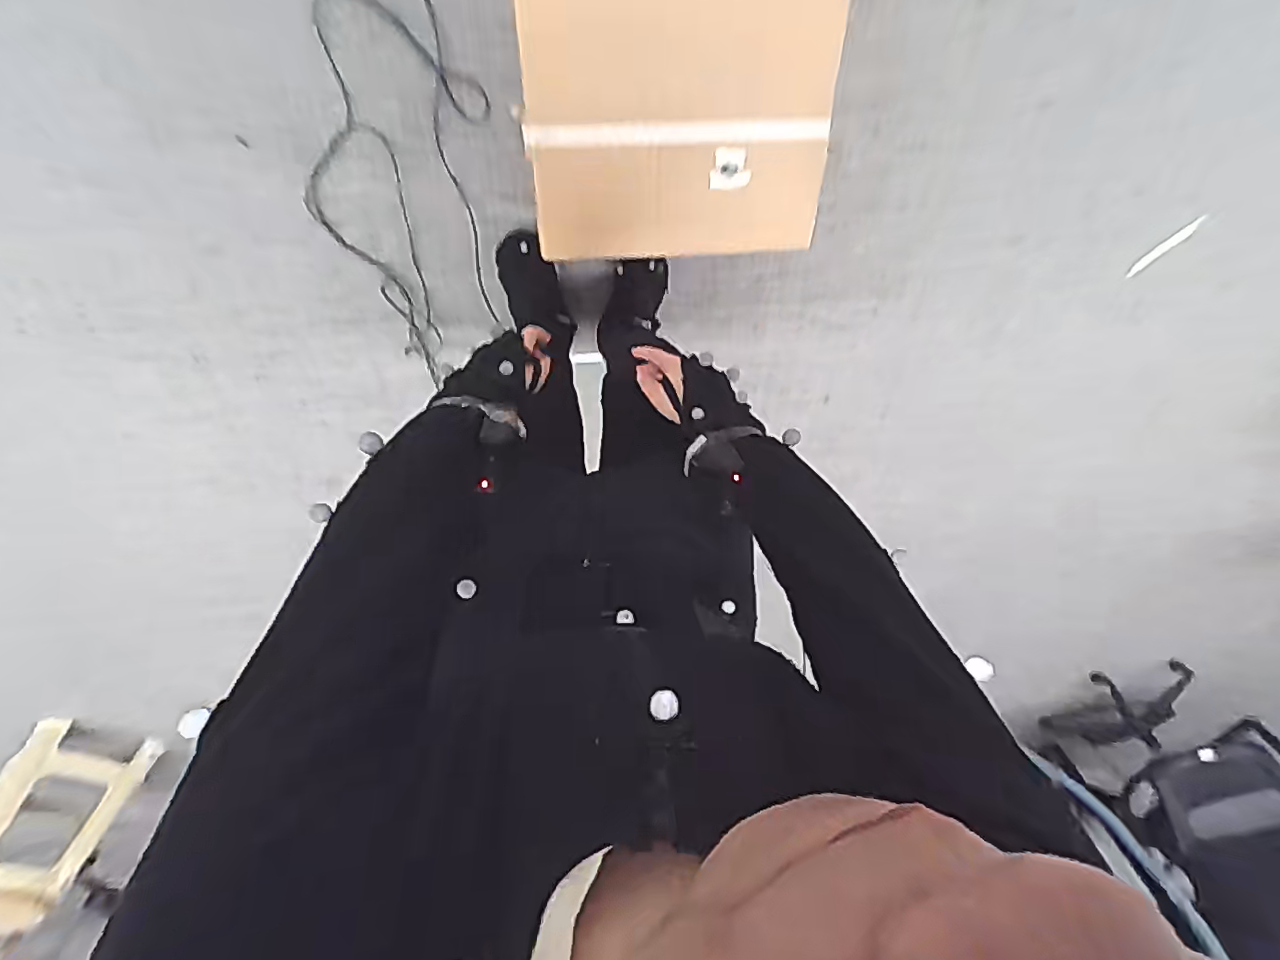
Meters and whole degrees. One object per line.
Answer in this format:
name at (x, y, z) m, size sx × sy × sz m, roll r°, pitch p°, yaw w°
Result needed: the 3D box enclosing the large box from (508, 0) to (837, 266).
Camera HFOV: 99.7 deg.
large box at (0.026, -0.544, 0.844) m, size 0.408 × 0.320 × 0.320 m, roll -5°, pitch 127°, yaw -6°
